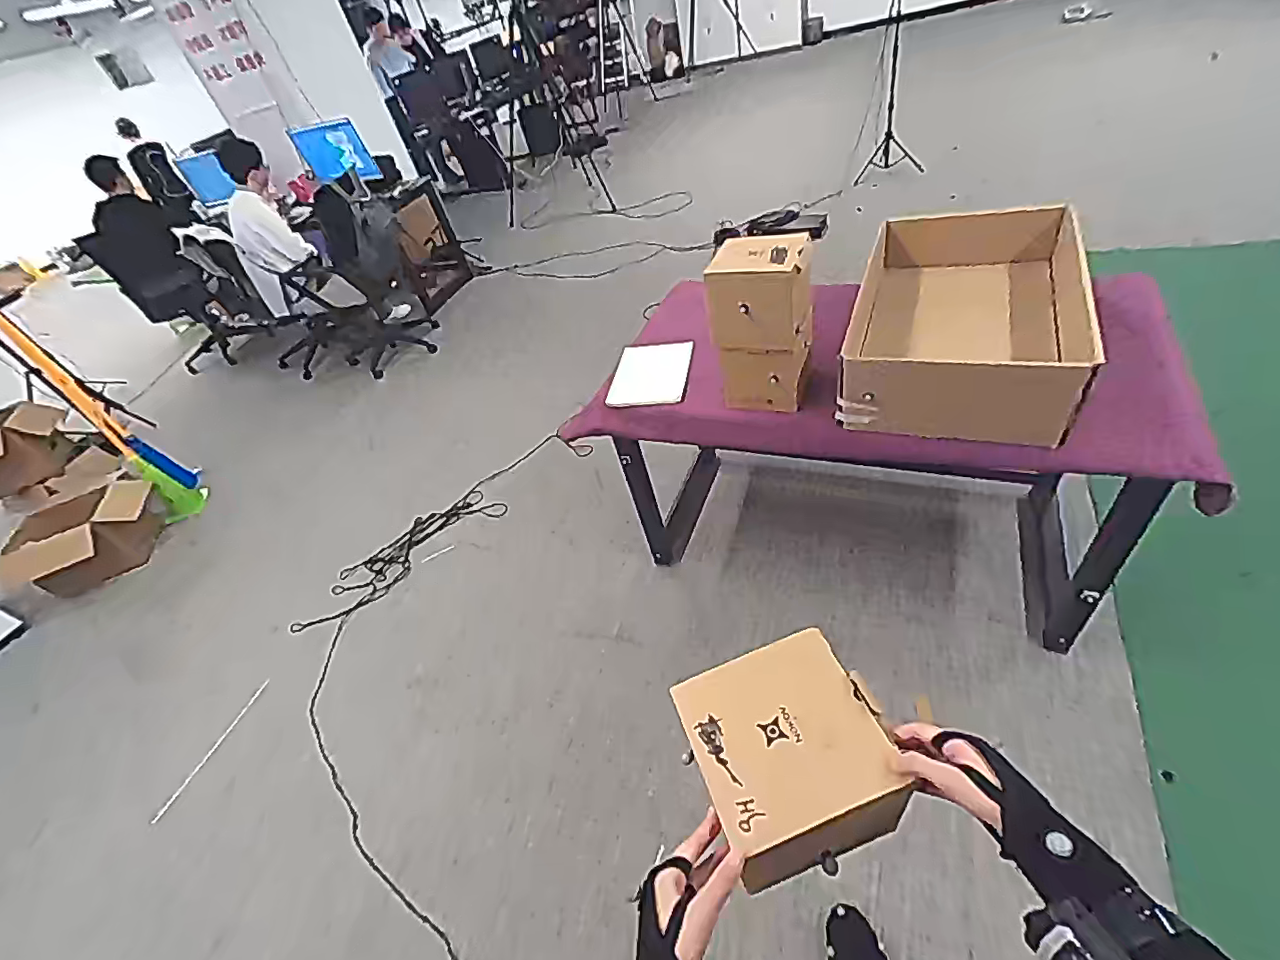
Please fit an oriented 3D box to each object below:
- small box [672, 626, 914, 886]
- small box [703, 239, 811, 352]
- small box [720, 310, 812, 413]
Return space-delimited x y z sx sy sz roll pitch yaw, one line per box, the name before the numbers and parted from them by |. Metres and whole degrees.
small box | 0.150 0.291 0.572 0.179 0.176 0.168 -20 43 -5
small box | 0.249 -0.379 1.120 0.179 0.176 0.168 9 48 26
small box | 0.295 -0.270 1.234 0.168 0.176 0.179 9 48 25
